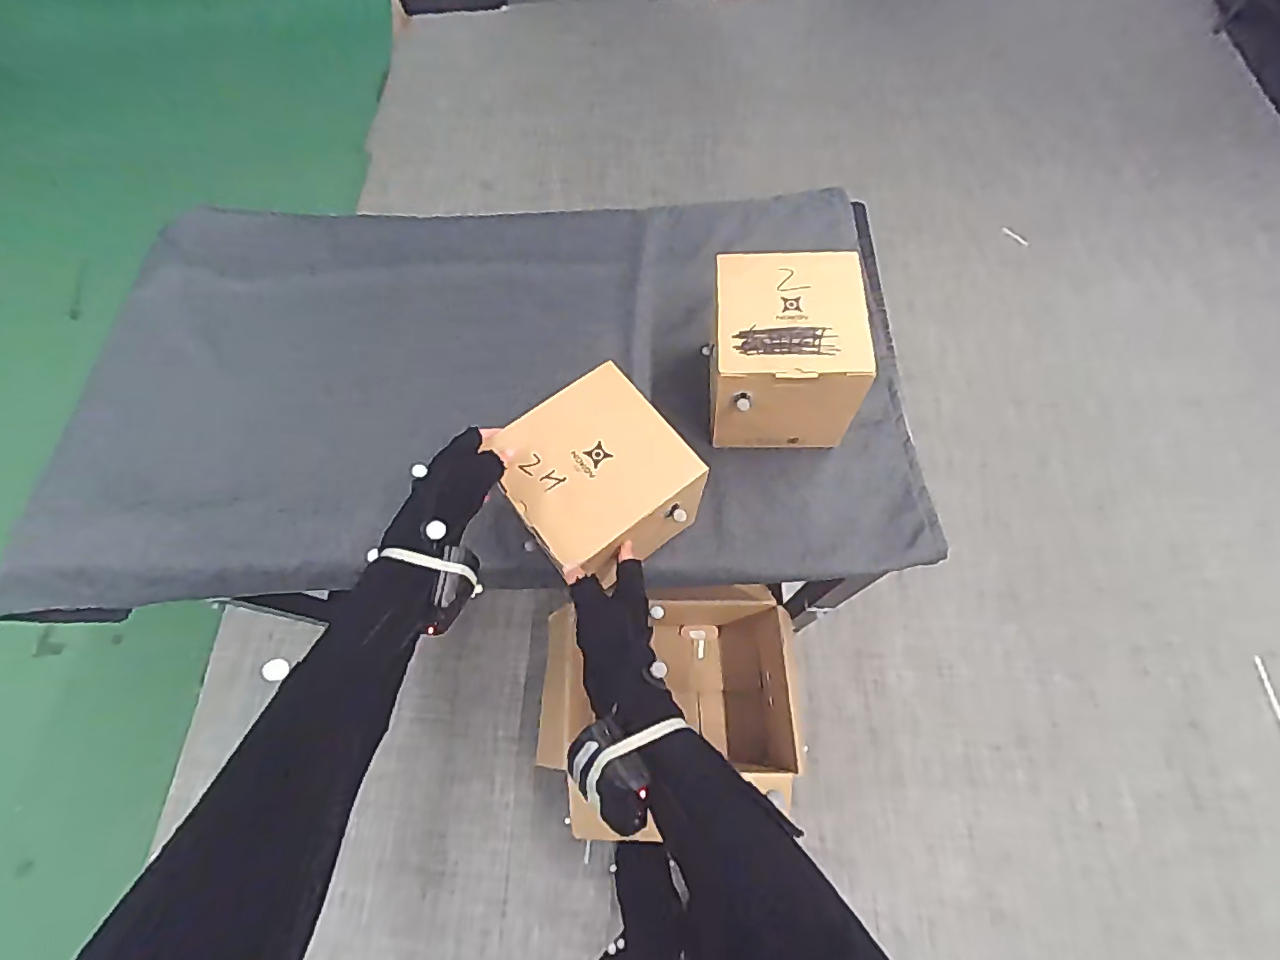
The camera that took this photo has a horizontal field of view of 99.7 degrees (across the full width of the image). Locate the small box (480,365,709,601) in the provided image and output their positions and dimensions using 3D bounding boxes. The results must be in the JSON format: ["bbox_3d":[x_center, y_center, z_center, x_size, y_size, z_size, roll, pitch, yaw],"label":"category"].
[{"bbox_3d":[-0.047,0.012,0.613,0.179,0.176,0.168,-37,71,-14],"label":"small box"}]
